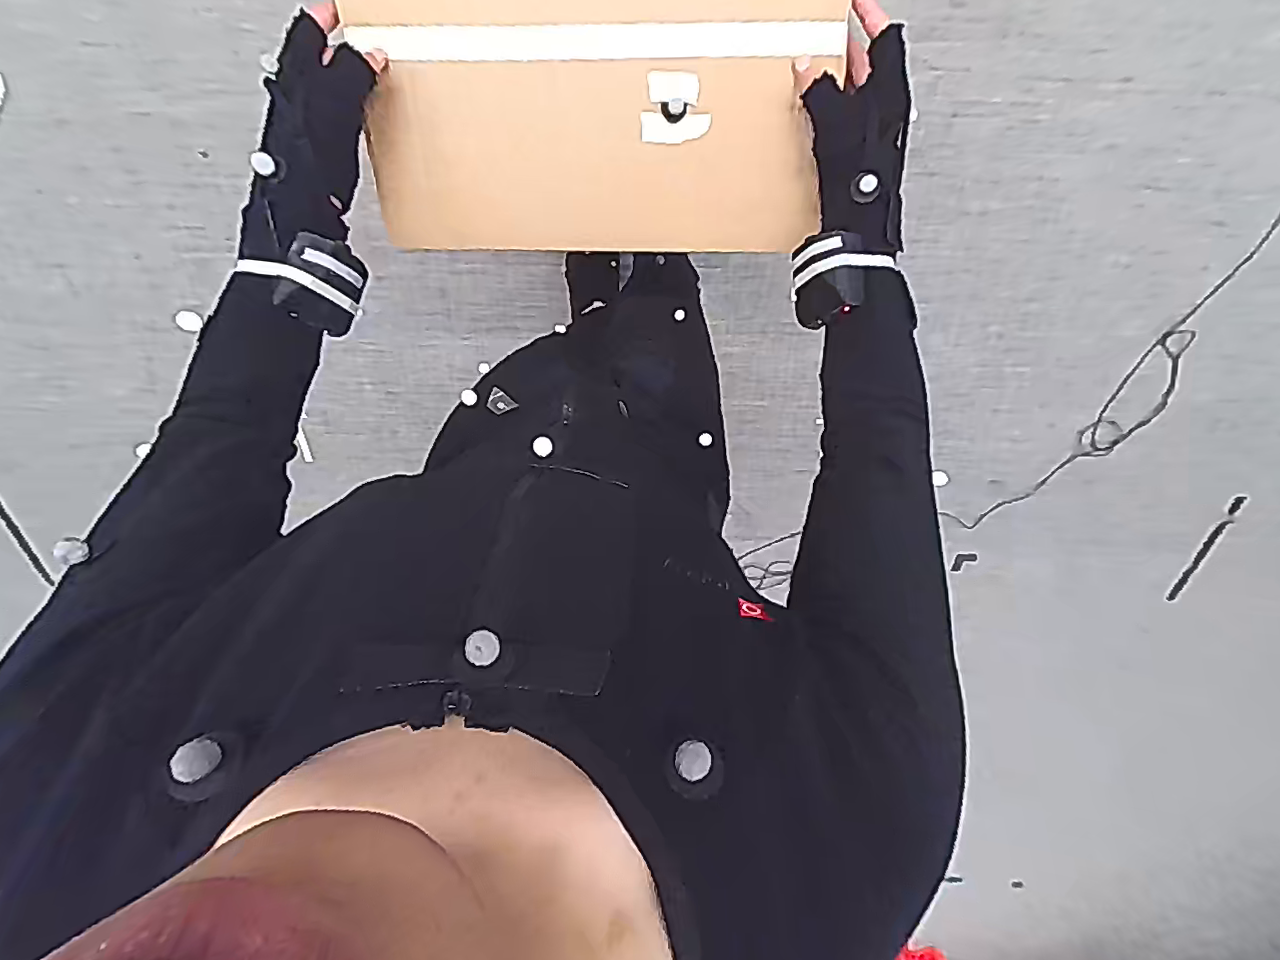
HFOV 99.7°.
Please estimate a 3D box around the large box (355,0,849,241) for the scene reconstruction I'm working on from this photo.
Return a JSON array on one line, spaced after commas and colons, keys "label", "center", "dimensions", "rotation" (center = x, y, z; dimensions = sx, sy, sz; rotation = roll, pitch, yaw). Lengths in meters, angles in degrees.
[{"label": "large box", "center": [-0.030, -0.439, 0.569], "dimensions": [0.408, 0.320, 0.320], "rotation": [0, 120, 1]}]
